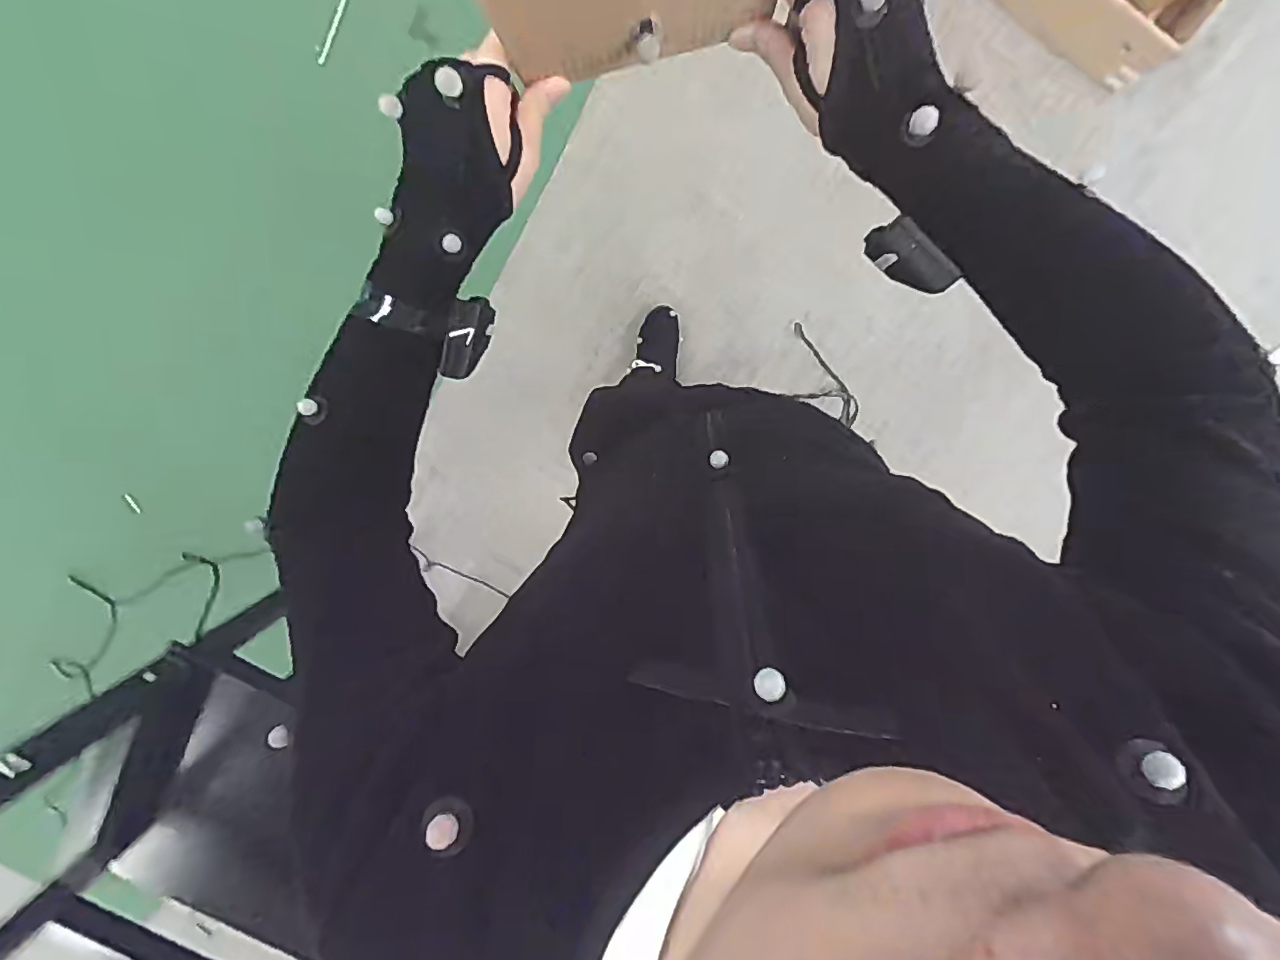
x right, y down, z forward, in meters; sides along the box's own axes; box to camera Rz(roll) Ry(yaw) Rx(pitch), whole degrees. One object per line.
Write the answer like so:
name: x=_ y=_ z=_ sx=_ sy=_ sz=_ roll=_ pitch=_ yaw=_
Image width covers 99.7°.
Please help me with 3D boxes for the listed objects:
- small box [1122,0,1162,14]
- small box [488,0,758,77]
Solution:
small box: x=1.153 y=-1.179 z=1.168 sx=0.168 sy=0.176 sz=0.179 roll=34 pitch=103 yaw=-6
small box: x=-0.014 y=-0.357 z=0.283 sx=0.179 sy=0.176 sz=0.168 roll=-10 pitch=101 yaw=4
